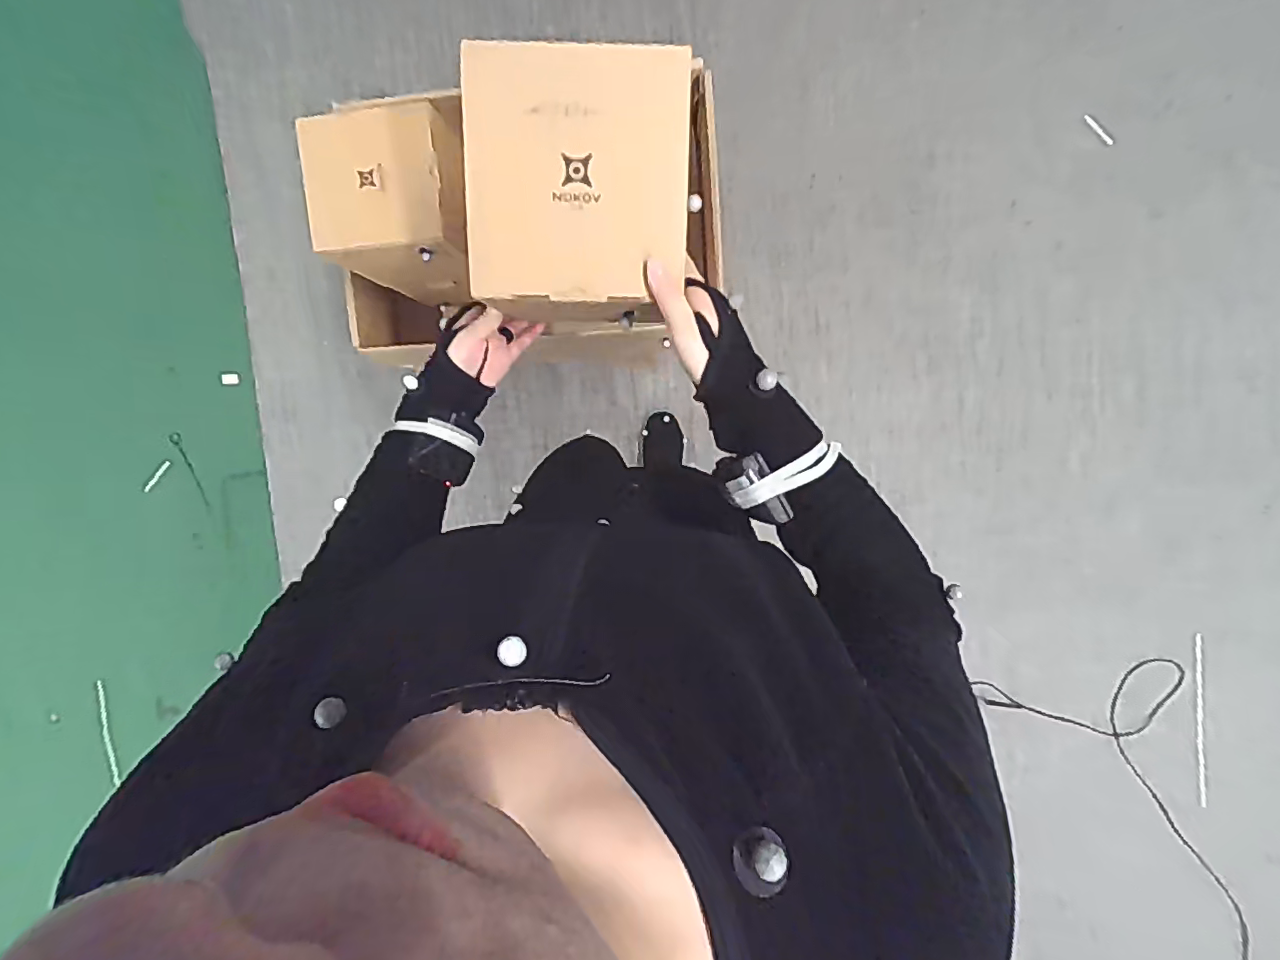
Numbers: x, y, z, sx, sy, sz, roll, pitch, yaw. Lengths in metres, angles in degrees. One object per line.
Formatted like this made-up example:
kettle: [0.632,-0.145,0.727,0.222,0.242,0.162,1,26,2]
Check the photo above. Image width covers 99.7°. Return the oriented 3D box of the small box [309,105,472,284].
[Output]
small box: [-0.327,-0.389,0.768,0.179,0.176,0.168,-4,94,4]

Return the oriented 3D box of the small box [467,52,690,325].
small box: [-0.047,-0.237,0.485,0.168,0.176,0.179,2,100,0]
